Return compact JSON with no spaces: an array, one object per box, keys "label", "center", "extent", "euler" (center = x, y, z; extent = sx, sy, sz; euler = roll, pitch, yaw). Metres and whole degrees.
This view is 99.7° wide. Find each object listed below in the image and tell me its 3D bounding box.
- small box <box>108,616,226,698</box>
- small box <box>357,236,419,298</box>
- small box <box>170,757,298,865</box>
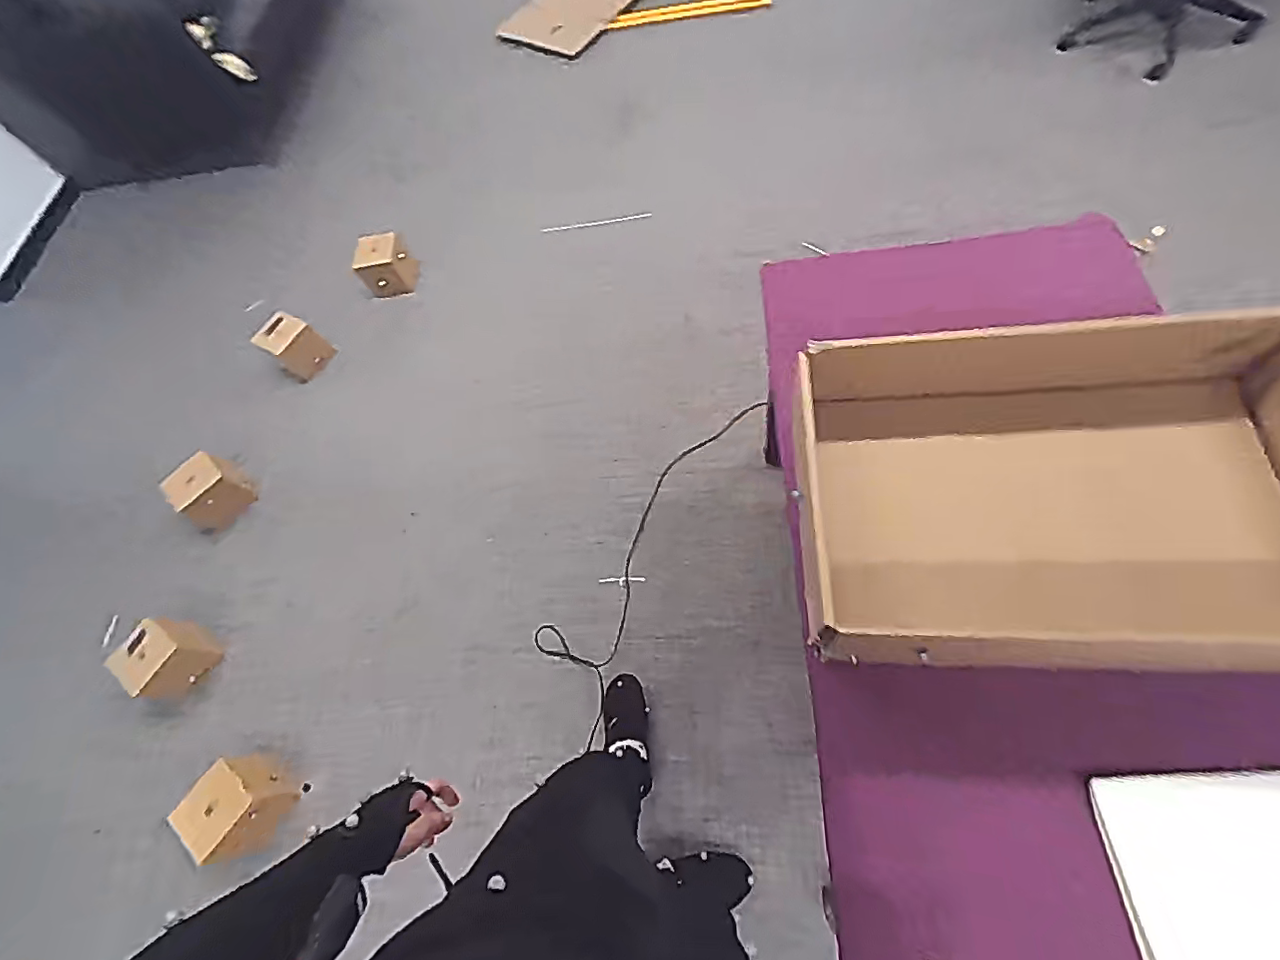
[{"label":"small box","center":[-1.426,0.543,1.639],"extent":[0.179,0.176,0.168],"euler":[28,73,21]},{"label":"small box","center":[-1.043,-0.879,2.253],"extent":[0.168,0.176,0.179],"euler":[-6,64,7]},{"label":"small box","center":[-1.057,0.858,1.420],"extent":[0.168,0.176,0.179],"euler":[31,72,22]}]
